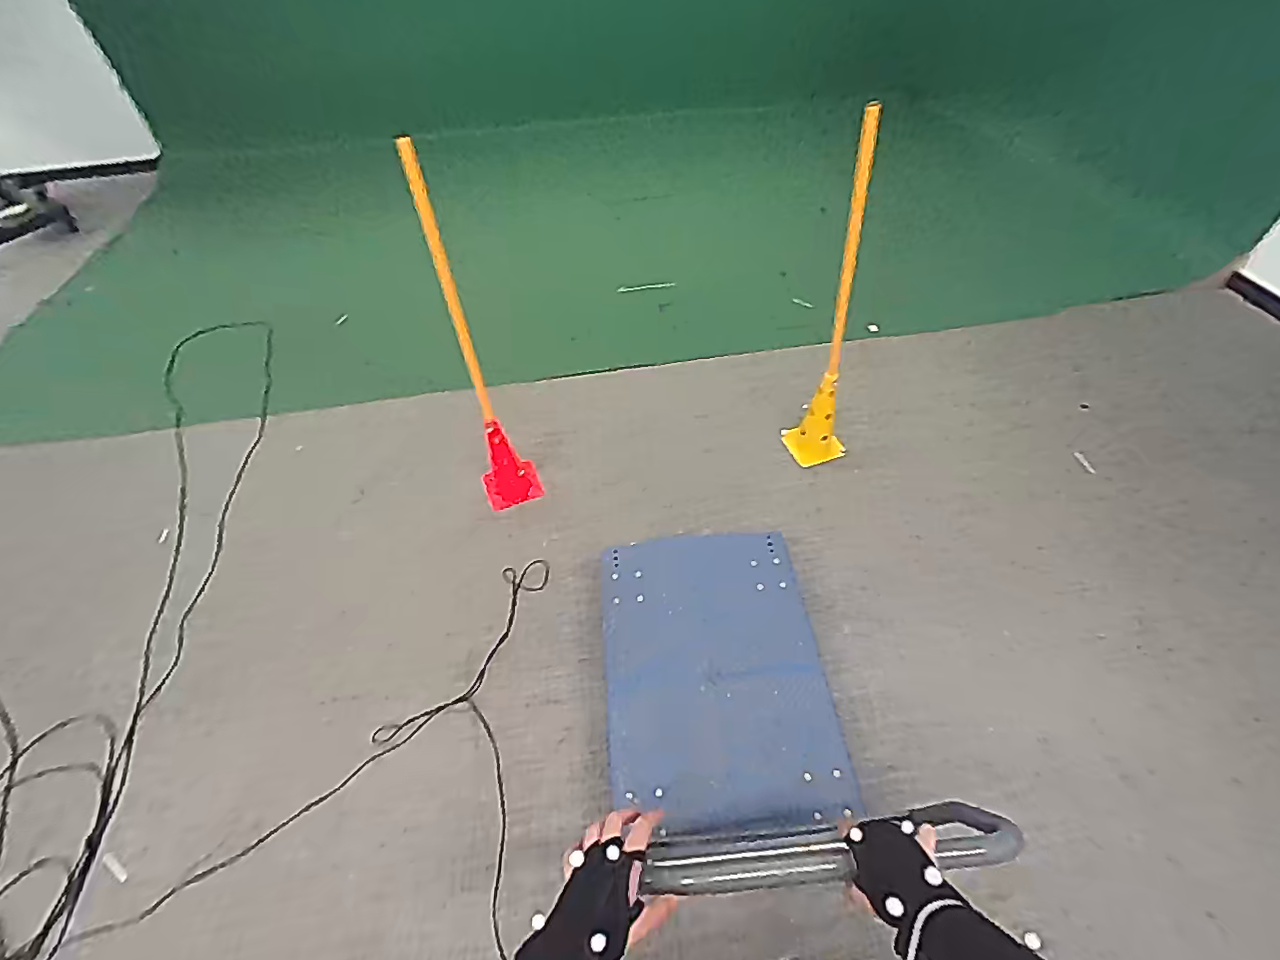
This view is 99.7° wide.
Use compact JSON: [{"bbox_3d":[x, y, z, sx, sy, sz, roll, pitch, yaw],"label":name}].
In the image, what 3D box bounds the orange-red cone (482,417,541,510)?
[{"bbox_3d":[-0.502,-0.087,1.936,0.199,0.360,0.198,-21,52,-12],"label":"orange-red cone"}]
